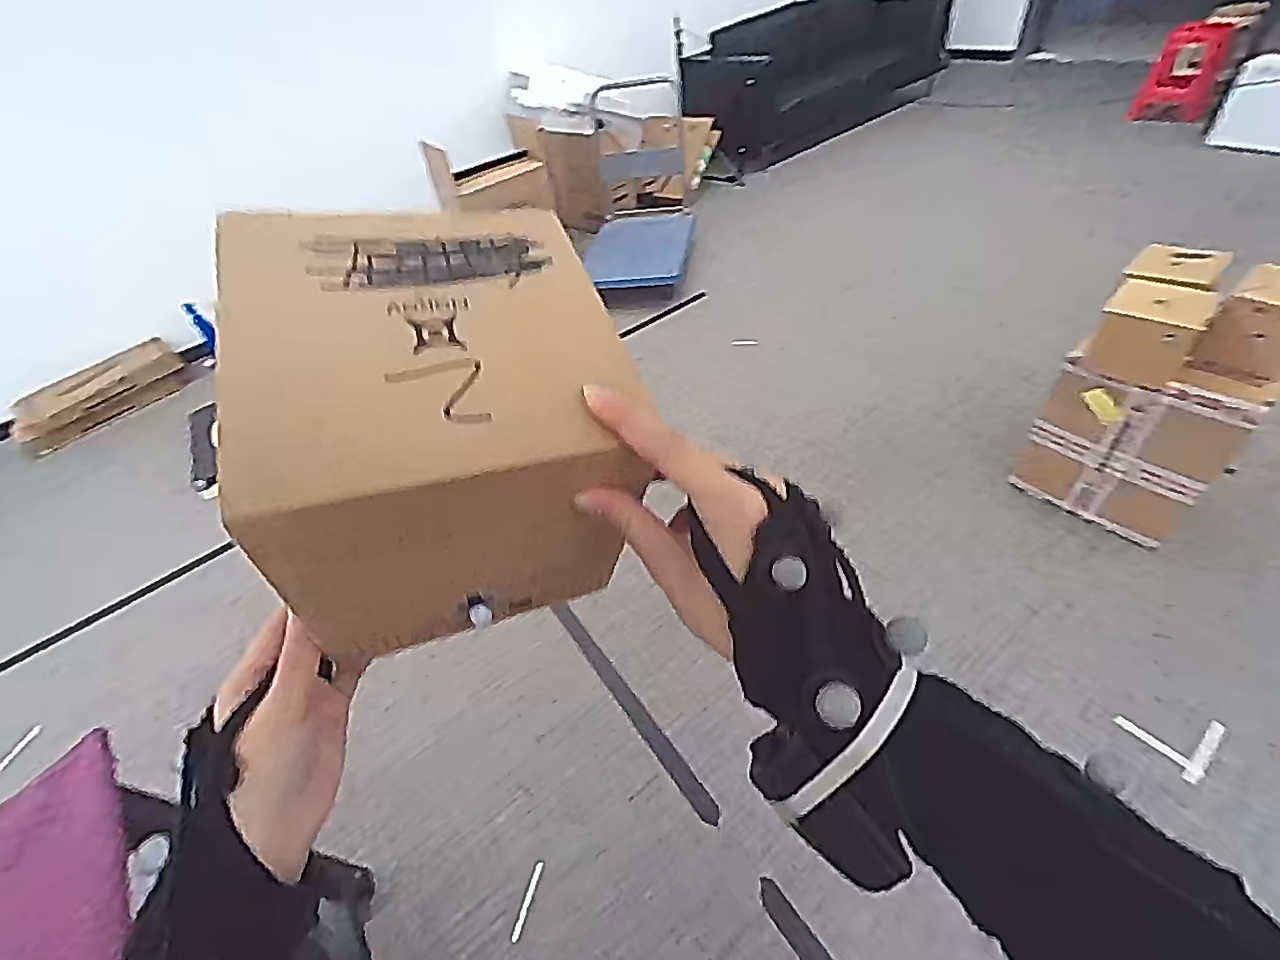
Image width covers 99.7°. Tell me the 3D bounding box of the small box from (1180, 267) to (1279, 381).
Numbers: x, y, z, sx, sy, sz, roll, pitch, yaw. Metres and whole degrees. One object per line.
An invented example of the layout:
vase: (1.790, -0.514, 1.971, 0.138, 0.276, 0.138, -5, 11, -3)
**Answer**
small box: (1.425, -0.365, 1.248, 0.179, 0.176, 0.168, -36, 52, -20)

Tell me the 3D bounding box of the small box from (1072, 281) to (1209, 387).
small box: (1.188, -0.348, 1.297, 0.179, 0.176, 0.168, 31, 62, 35)
